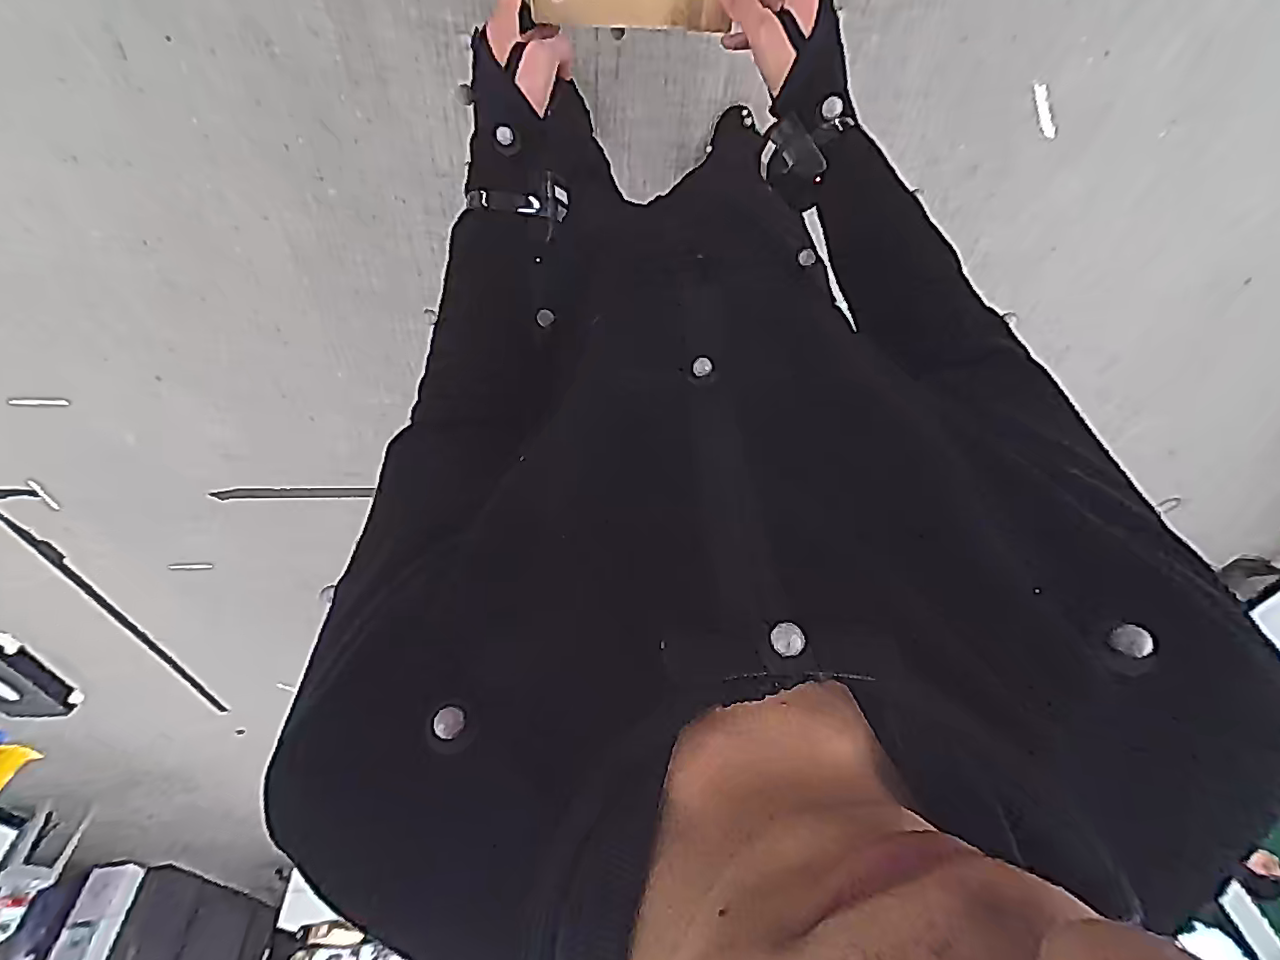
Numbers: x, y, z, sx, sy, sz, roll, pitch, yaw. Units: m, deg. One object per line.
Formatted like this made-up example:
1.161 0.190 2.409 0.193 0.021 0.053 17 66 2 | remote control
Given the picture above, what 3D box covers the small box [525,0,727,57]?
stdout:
-0.018 -0.505 0.492 0.179 0.176 0.168 -4 134 -9 | small box
